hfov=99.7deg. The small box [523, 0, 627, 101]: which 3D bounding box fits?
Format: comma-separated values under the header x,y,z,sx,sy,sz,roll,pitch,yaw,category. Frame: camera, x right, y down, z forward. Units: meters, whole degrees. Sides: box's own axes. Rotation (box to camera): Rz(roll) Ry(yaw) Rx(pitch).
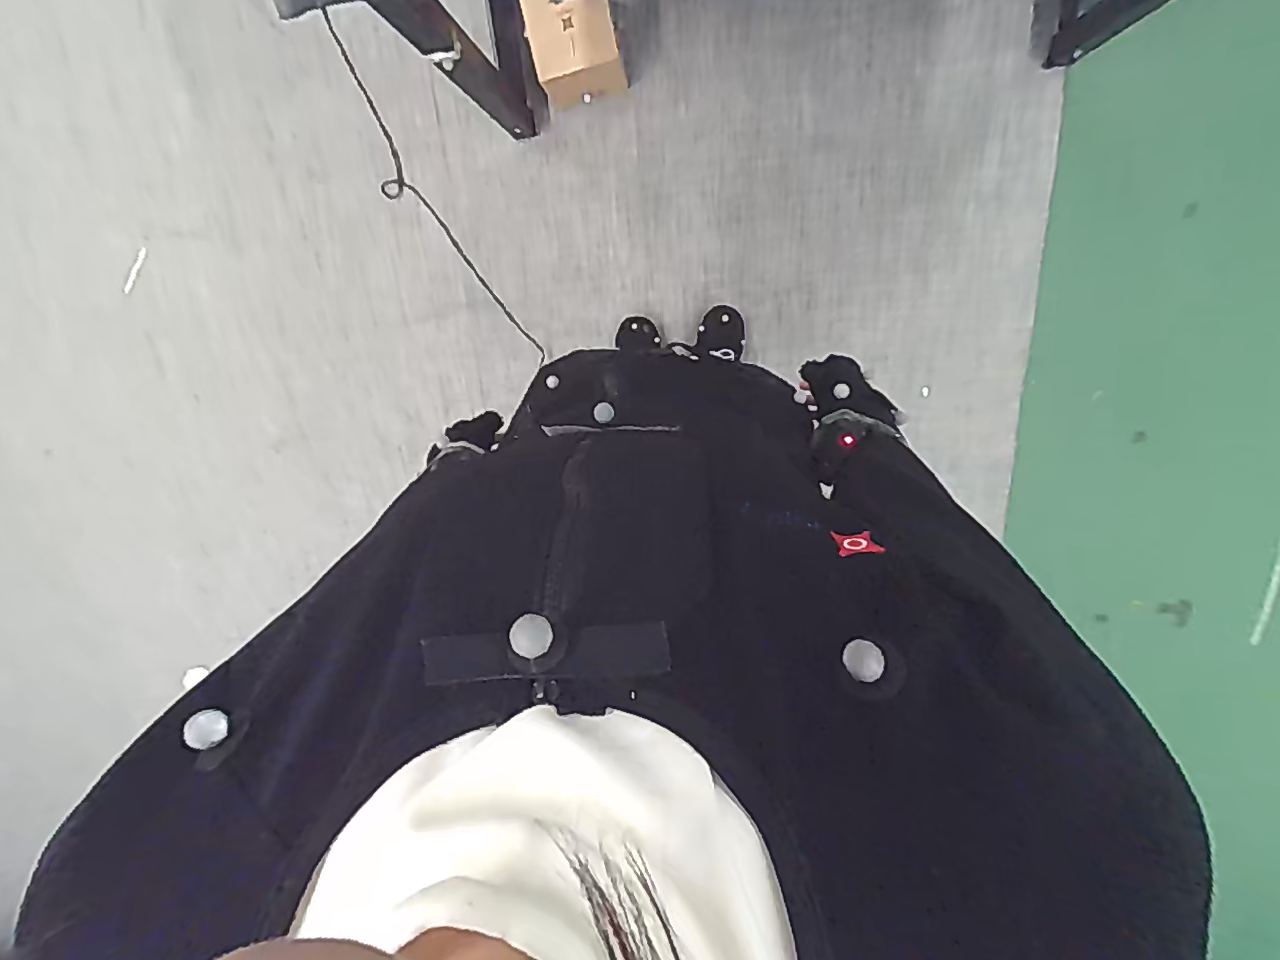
x,y,z,sx,sy,sz,roll,pitch,yaw,category
-0.129,-0.912,1.093,0.168,0.176,0.179,-10,108,9,small box
